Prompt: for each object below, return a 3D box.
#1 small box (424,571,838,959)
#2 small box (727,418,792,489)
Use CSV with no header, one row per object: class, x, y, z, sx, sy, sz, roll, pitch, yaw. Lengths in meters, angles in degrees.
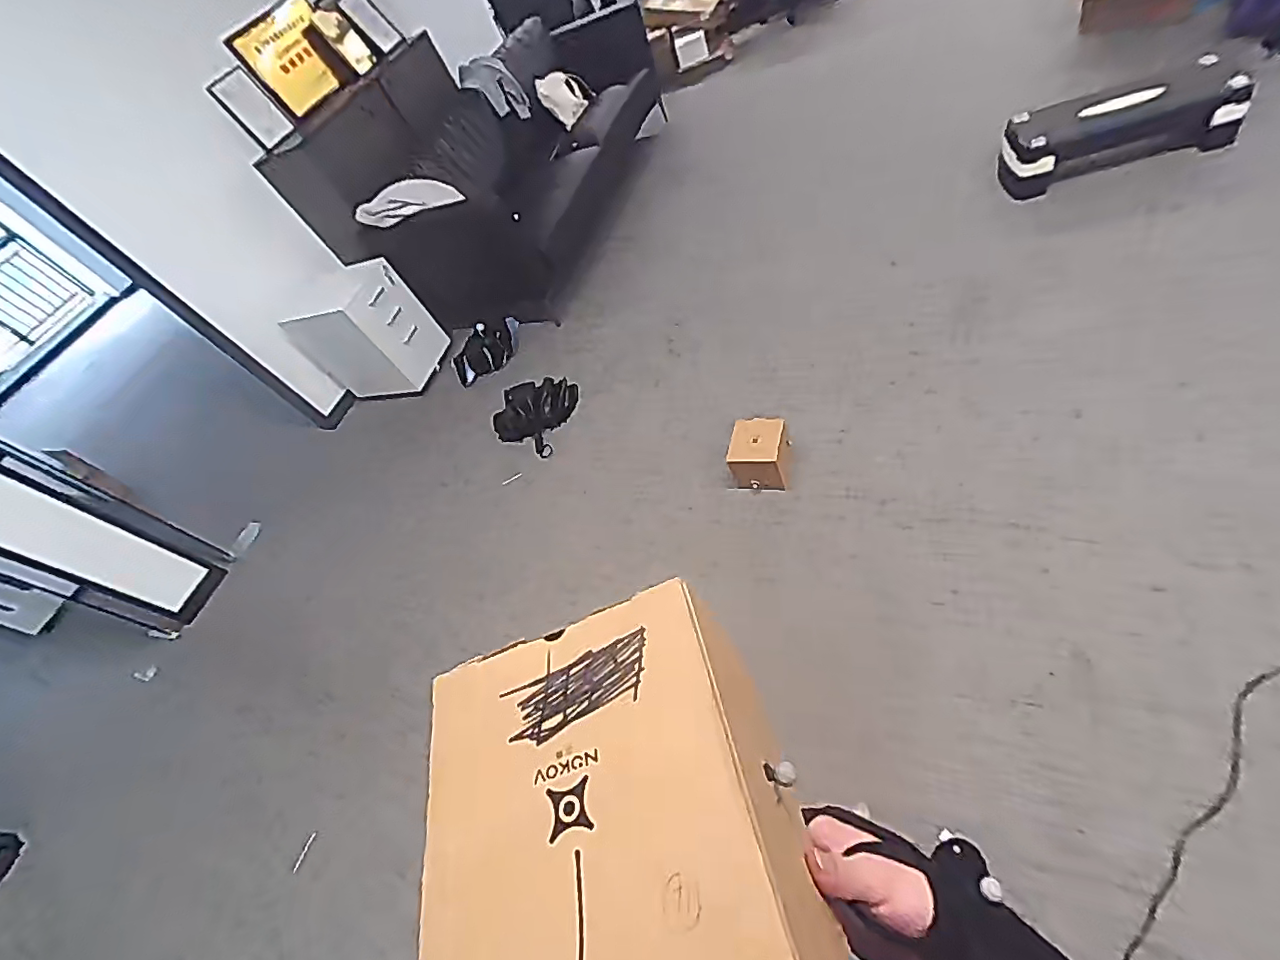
small box,-0.001,0.190,0.324,0.168,0.176,0.179,-24,47,9
small box,0.407,-0.088,1.812,0.168,0.176,0.179,0,57,29
